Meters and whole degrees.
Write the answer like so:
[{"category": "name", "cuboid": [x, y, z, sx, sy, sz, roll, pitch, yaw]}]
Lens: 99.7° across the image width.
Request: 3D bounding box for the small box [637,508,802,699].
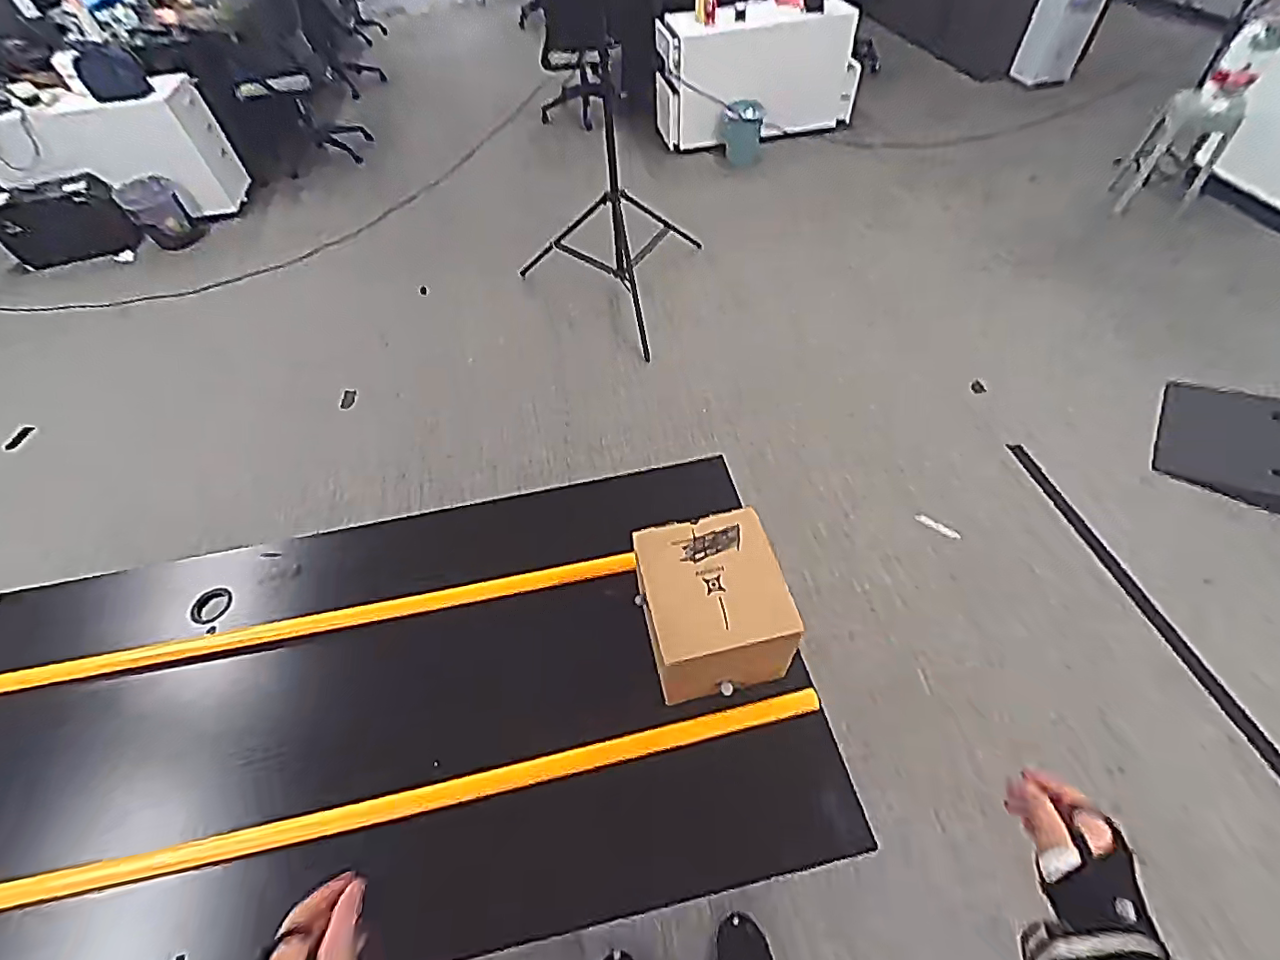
[{"category": "small box", "cuboid": [0.093, 0.166, 0.720, 0.168, 0.176, 0.179, -12, 53, -4]}]
